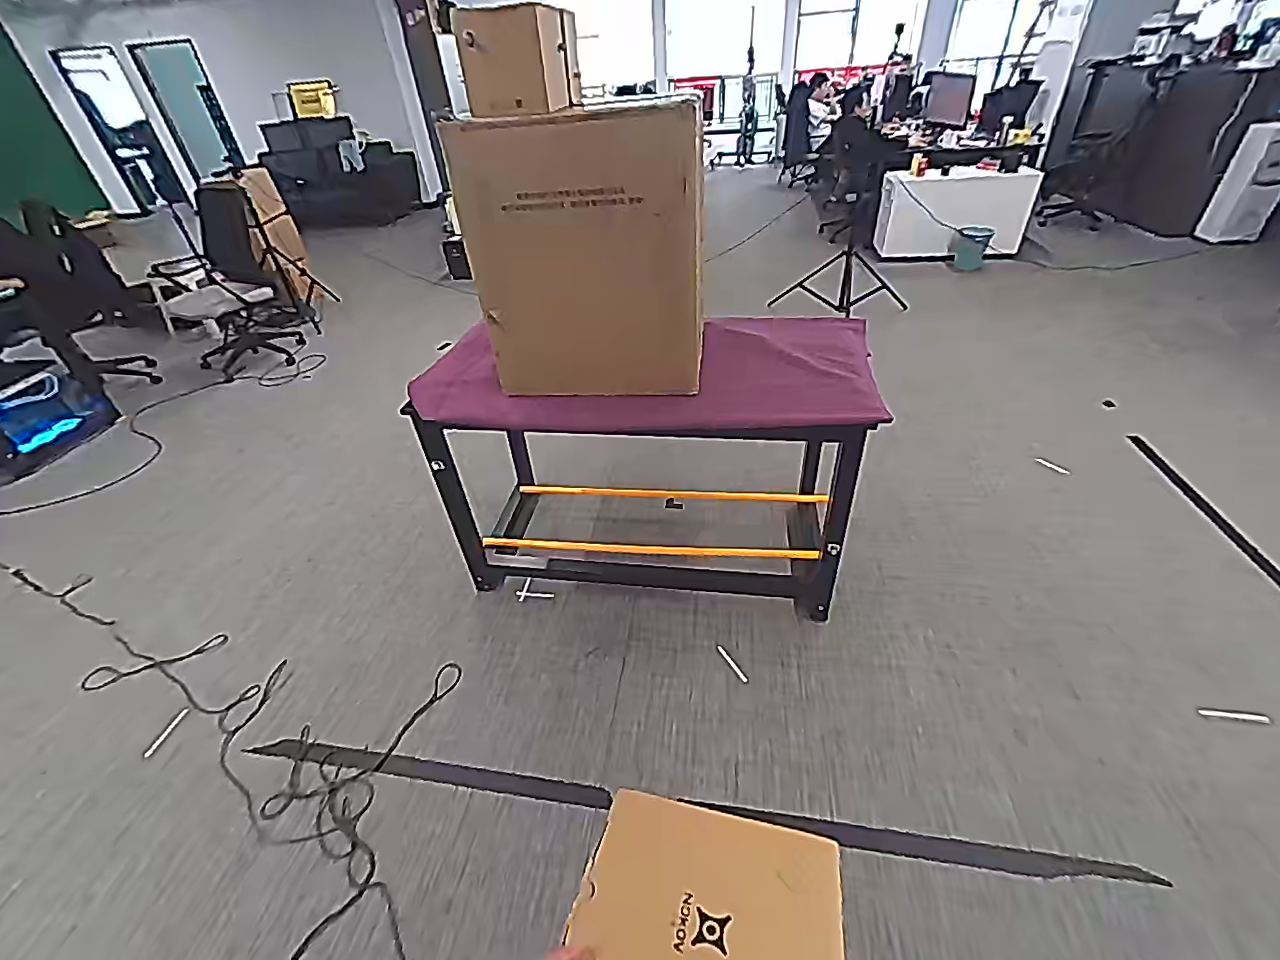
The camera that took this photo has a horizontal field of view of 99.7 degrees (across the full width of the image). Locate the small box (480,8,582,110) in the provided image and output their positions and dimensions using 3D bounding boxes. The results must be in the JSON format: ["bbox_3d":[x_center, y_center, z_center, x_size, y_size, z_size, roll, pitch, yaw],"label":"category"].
[{"bbox_3d":[-0.239,-0.952,1.231,0.179,0.176,0.168,1,38,5],"label":"small box"}]

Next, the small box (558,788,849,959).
[{"bbox_3d":[0.046,0.363,0.378,0.179,0.176,0.168,4,22,15],"label":"small box"}]
